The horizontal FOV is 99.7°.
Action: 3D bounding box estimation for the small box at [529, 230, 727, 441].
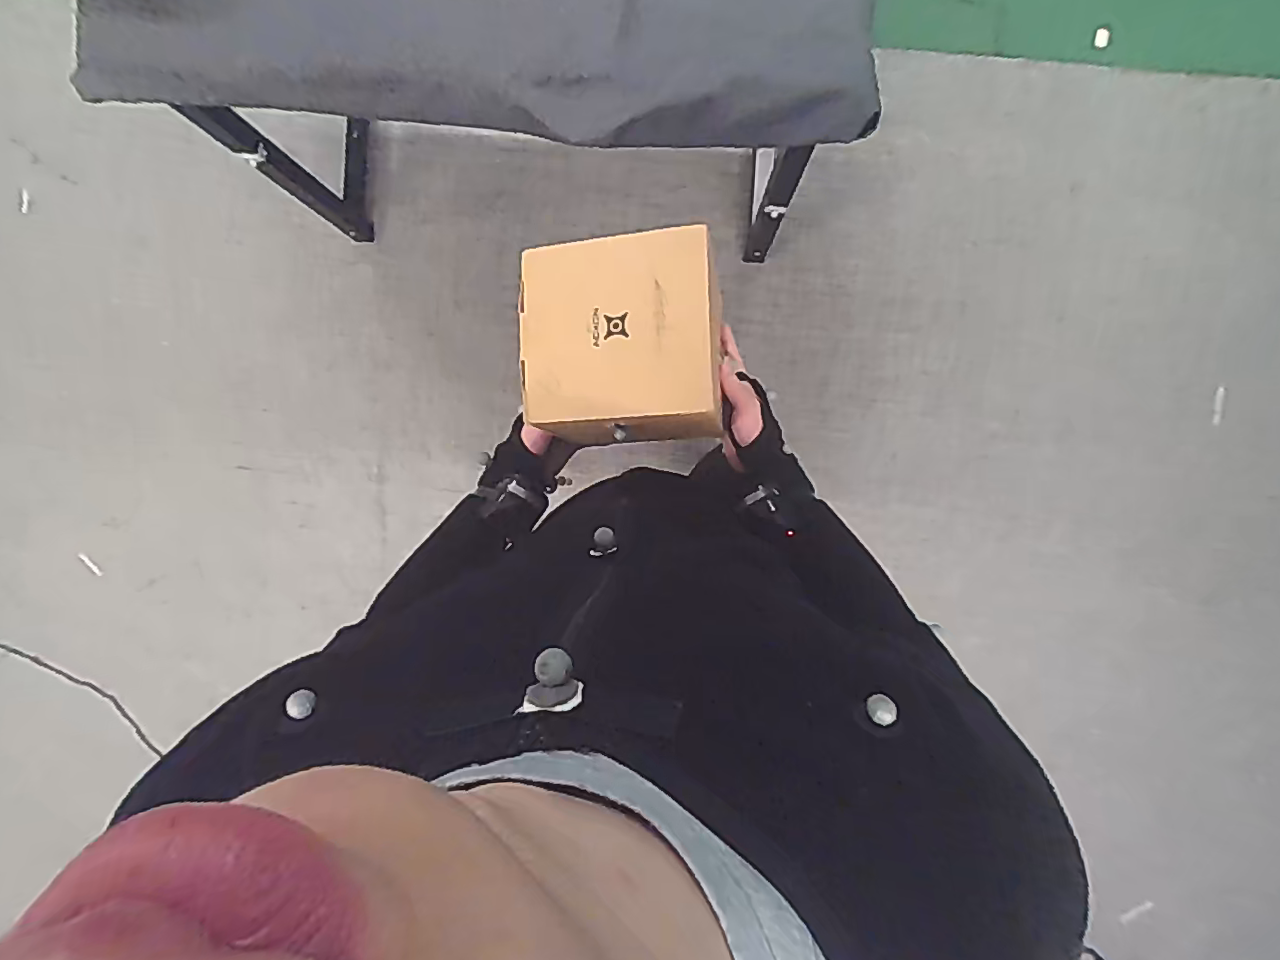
[{"bbox_3d":[-0.003,-0.135,0.571,0.179,0.176,0.168,-2,87,11],"label":"small box"}]
